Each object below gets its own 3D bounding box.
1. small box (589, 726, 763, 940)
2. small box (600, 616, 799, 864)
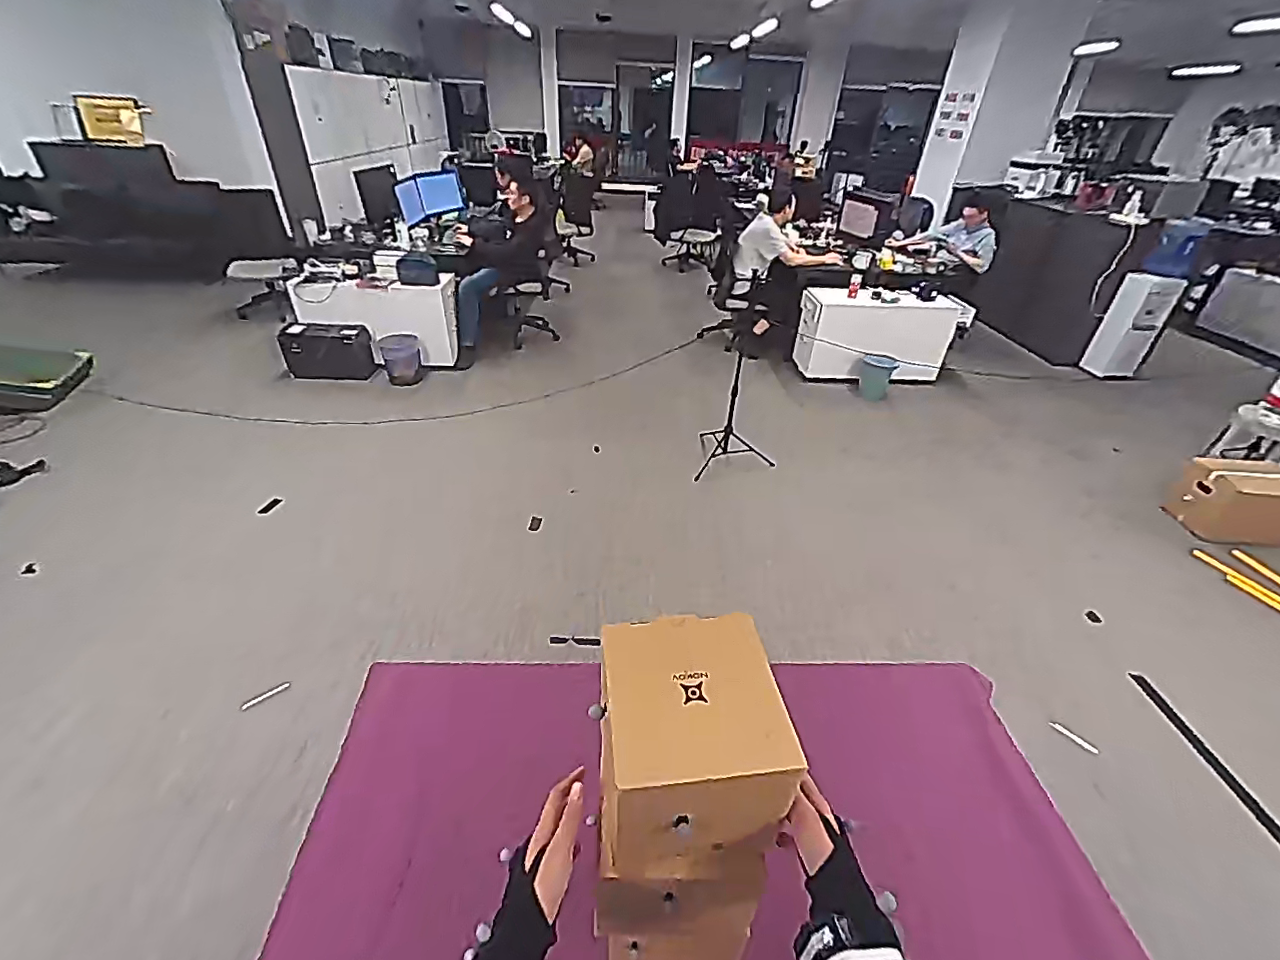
[{"bbox_3d":[0.035,0.413,0.639,0.179,0.176,0.168,3,35,-1],"label":"small box"},{"bbox_3d":[0.046,0.268,0.563,0.168,0.176,0.179,-2,33,-7],"label":"small box"}]
